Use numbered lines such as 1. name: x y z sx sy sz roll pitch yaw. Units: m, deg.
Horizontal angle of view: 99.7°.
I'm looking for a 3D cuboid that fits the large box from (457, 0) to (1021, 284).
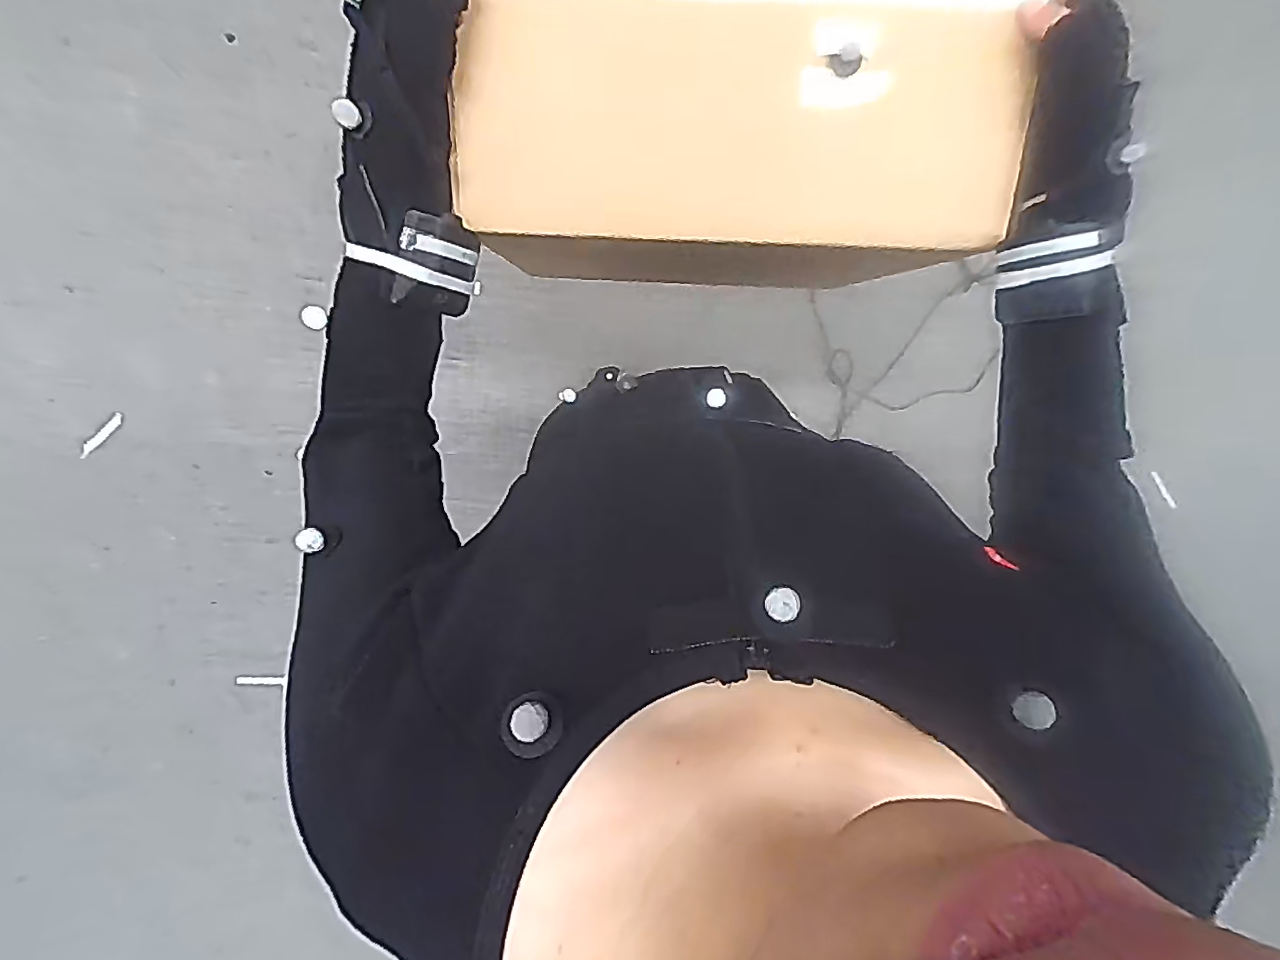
1. large box: 0.064 -0.369 0.520 0.408 0.320 0.320 1 104 -3
